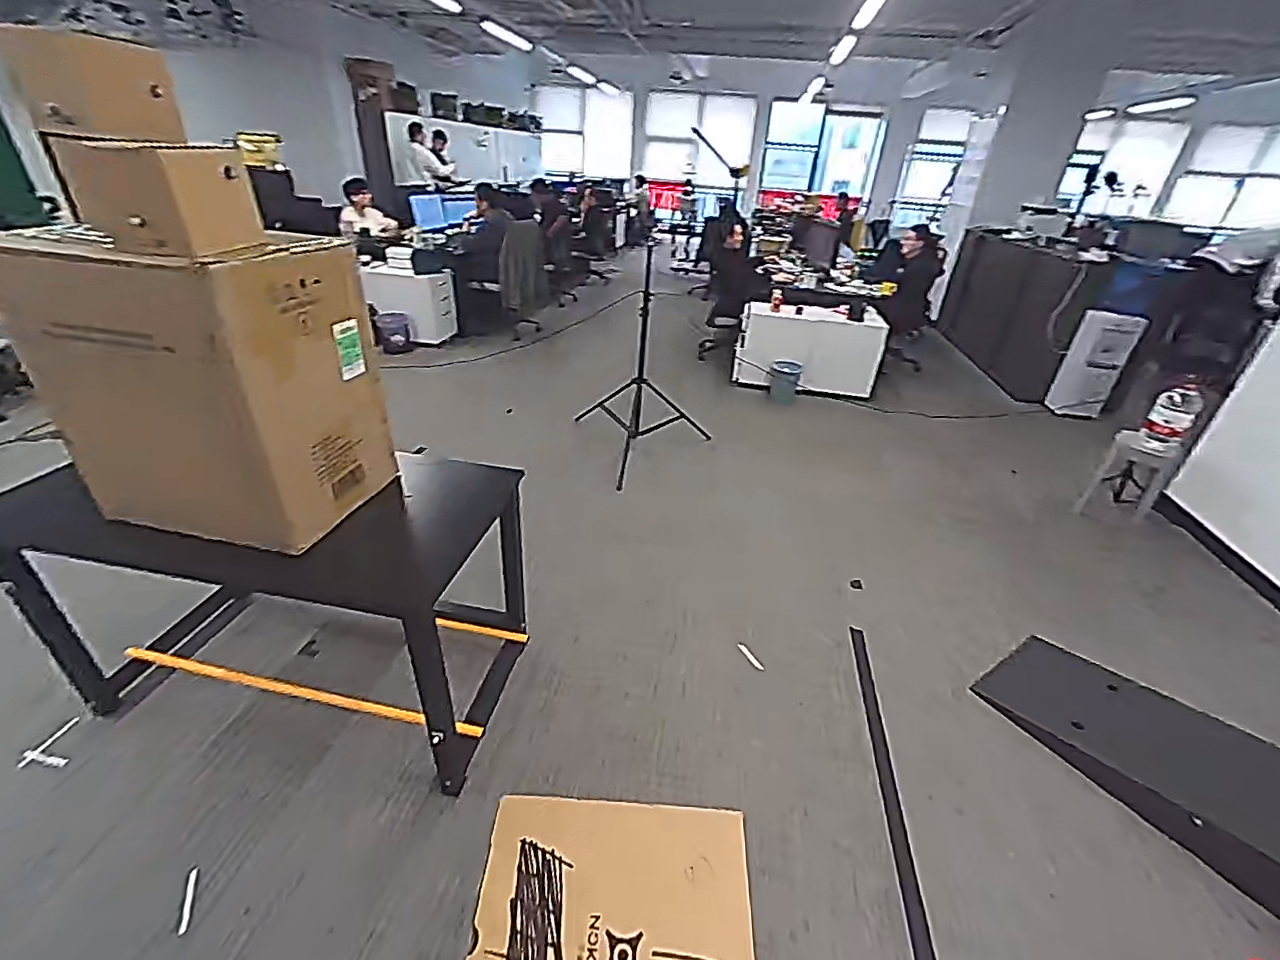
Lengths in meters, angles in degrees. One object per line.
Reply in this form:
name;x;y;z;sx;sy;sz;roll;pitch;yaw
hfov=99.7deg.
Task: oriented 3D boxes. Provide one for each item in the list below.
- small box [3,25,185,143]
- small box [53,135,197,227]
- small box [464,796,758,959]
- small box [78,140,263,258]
small box;-1.054;-0.769;1.067;0.168;0.176;0.179;10;31;9
small box;-1.066;-0.636;1.164;0.168;0.176;0.179;10;31;7
small box;-0.018;0.343;0.371;0.179;0.176;0.168;3;39;1
small box;-0.829;-0.512;0.983;0.168;0.176;0.179;6;32;7
